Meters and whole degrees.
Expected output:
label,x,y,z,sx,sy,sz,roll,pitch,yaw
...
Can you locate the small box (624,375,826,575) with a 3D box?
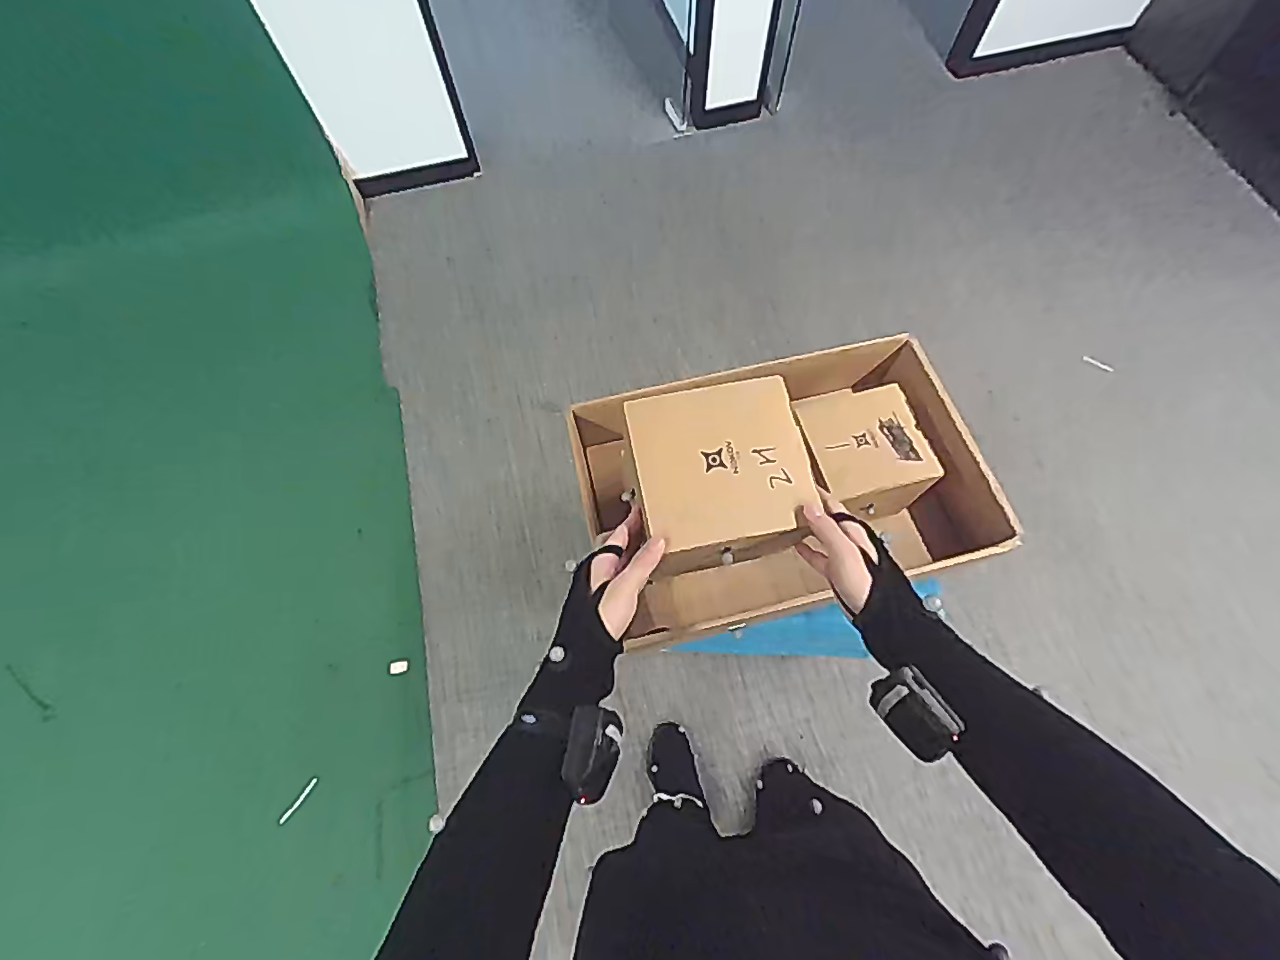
label,x,y,z,sx,sy,sz,roll,pitch,yaw
small box,0.082,0.005,0.618,0.179,0.176,0.168,-10,72,-5
